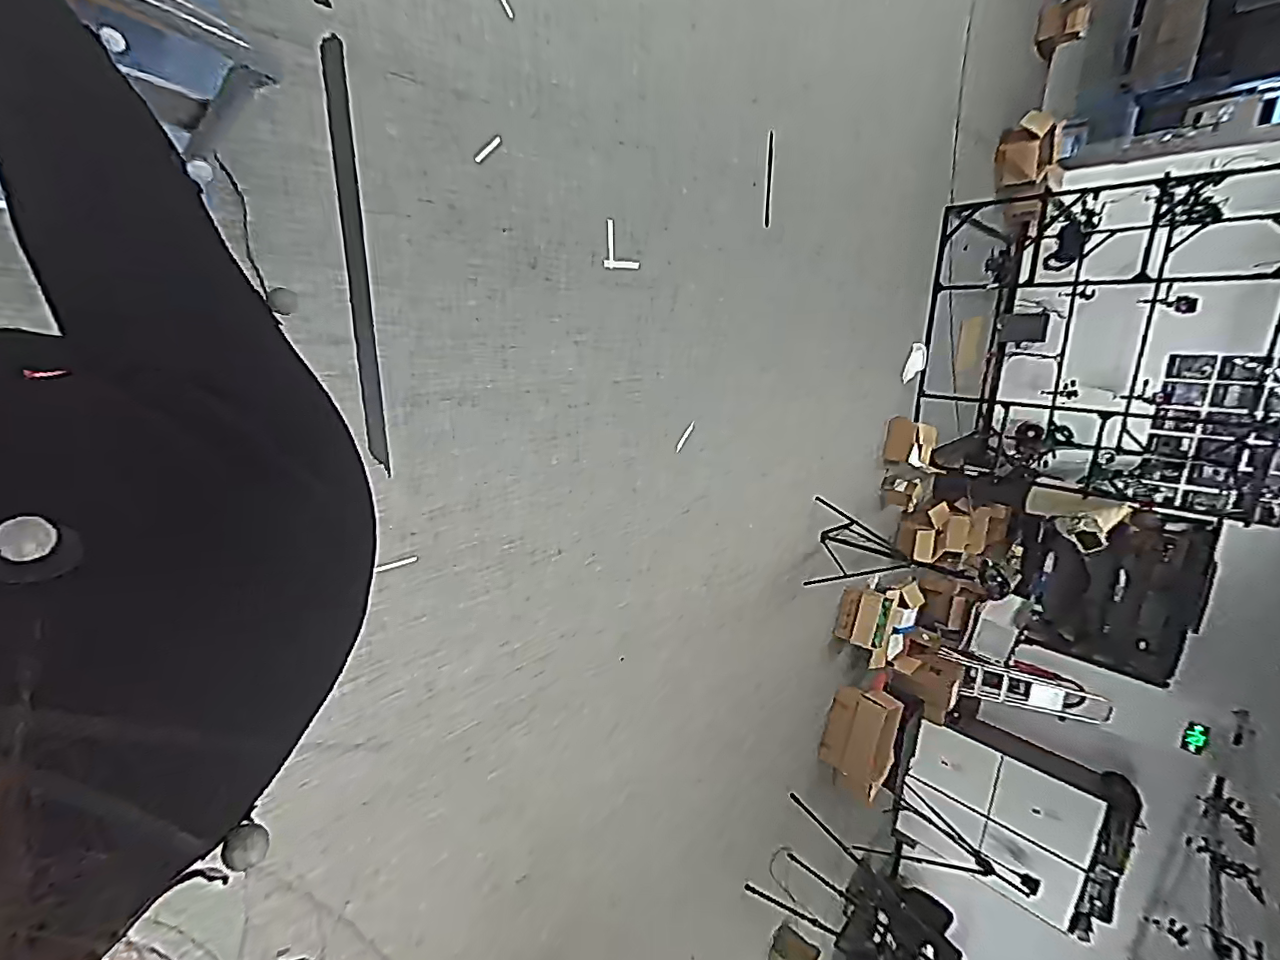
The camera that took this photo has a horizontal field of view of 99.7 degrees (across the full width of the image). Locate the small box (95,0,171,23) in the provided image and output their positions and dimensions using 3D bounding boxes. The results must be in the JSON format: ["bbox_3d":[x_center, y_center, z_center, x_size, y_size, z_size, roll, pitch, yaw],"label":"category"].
[{"bbox_3d":[-0.792,-0.814,0.778,0.179,0.176,0.168,-5,105,-46],"label":"small box"}]
